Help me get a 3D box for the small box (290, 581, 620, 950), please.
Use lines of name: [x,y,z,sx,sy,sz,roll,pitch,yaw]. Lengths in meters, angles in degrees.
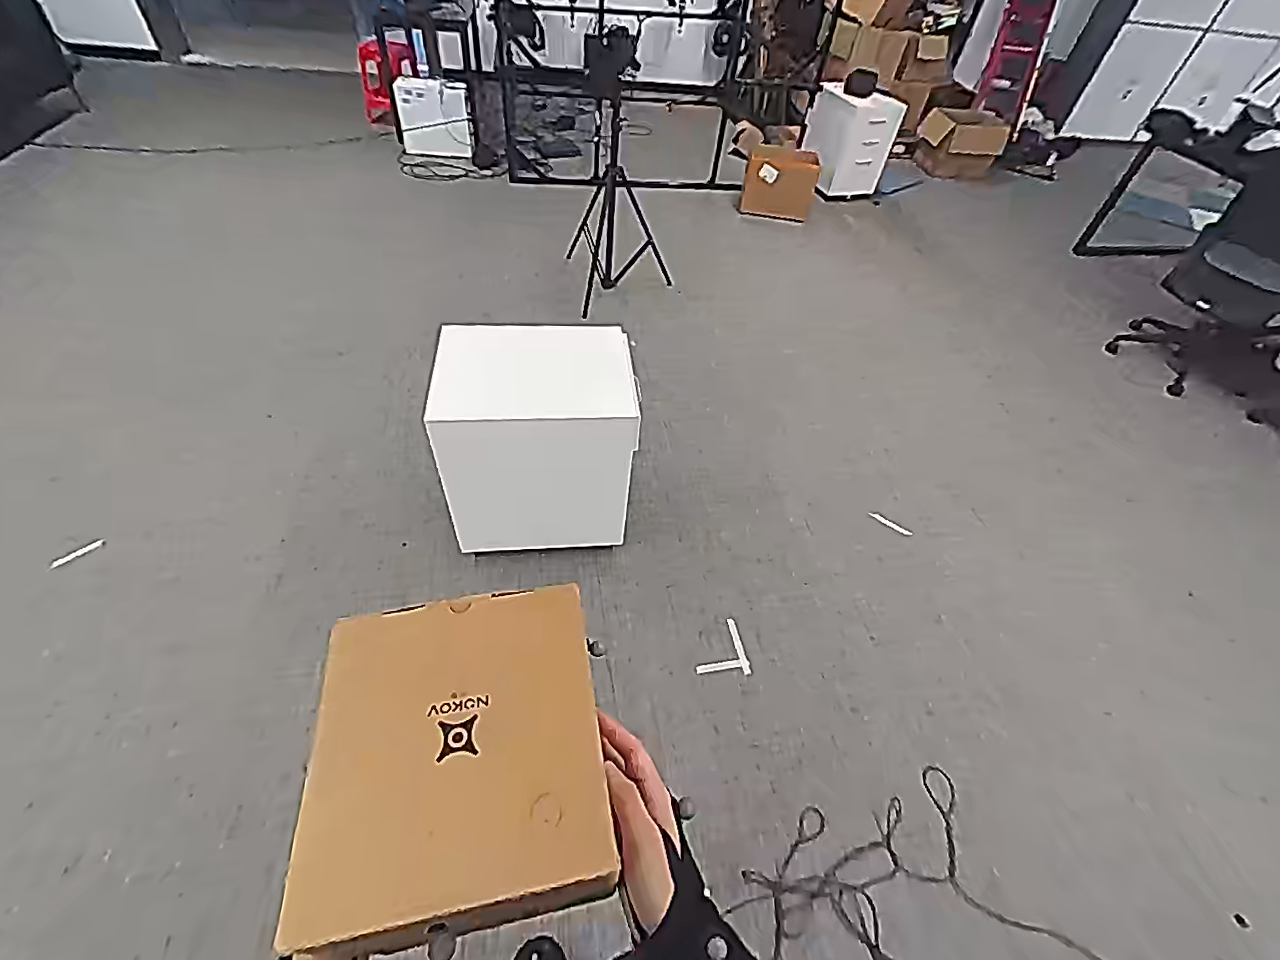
small box: [-0.107,0.198,0.381,0.168,0.176,0.179,-7,49,-10]
